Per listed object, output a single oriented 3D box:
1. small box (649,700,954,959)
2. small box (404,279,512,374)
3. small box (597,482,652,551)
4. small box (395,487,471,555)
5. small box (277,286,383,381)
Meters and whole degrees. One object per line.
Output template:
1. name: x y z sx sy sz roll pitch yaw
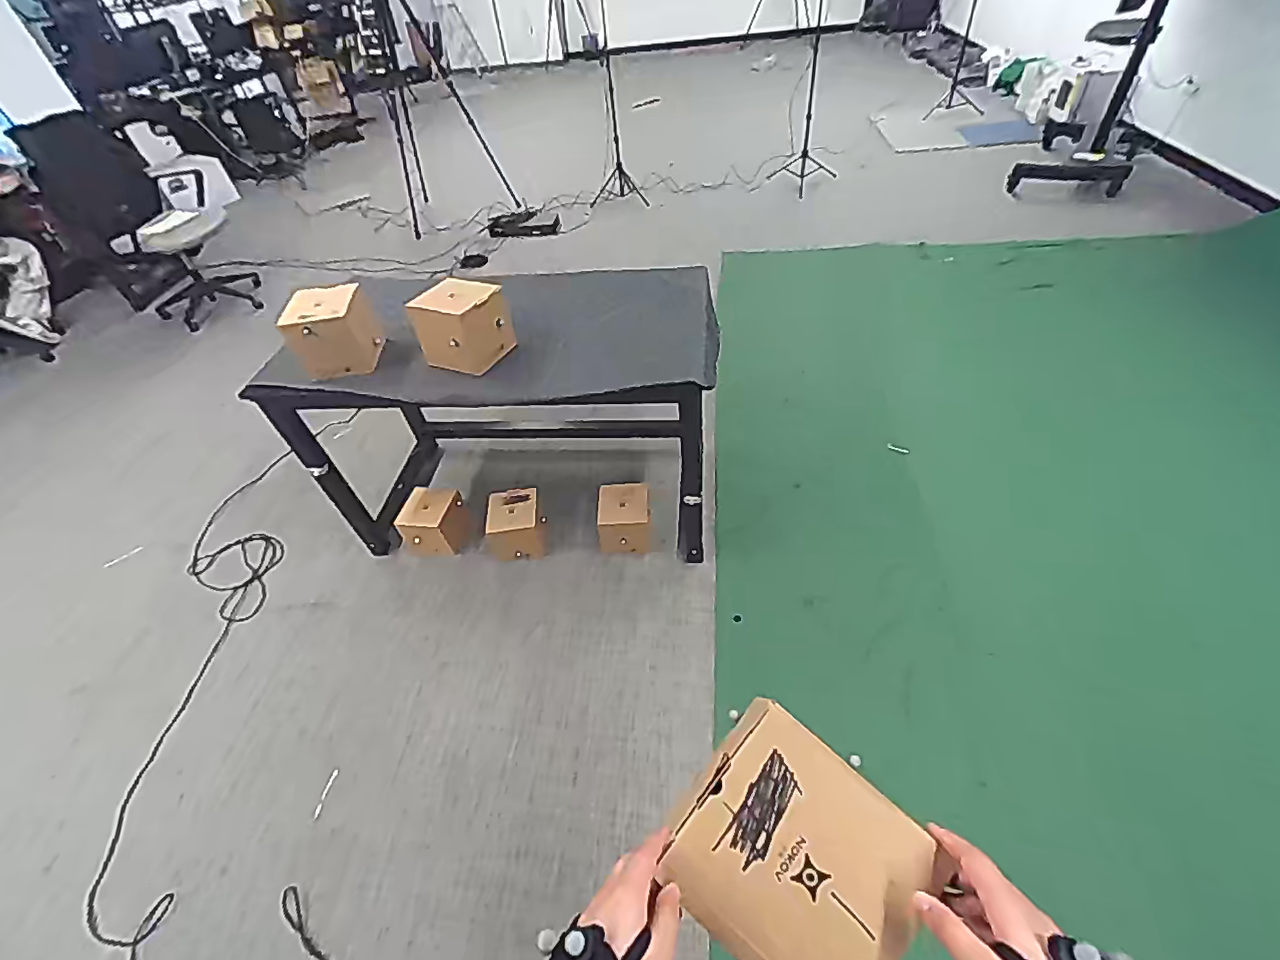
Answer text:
1. small box: 0.130 0.326 0.493 0.179 0.176 0.168 37 79 17
2. small box: -0.451 -0.387 1.373 0.179 0.176 0.168 14 47 22
3. small box: -0.048 0.129 1.834 0.168 0.176 0.179 -3 46 4
4. small box: -0.723 0.147 1.915 0.168 0.176 0.179 3 47 11
5. small box: -0.797 -0.382 1.414 0.168 0.176 0.179 -9 46 -1
